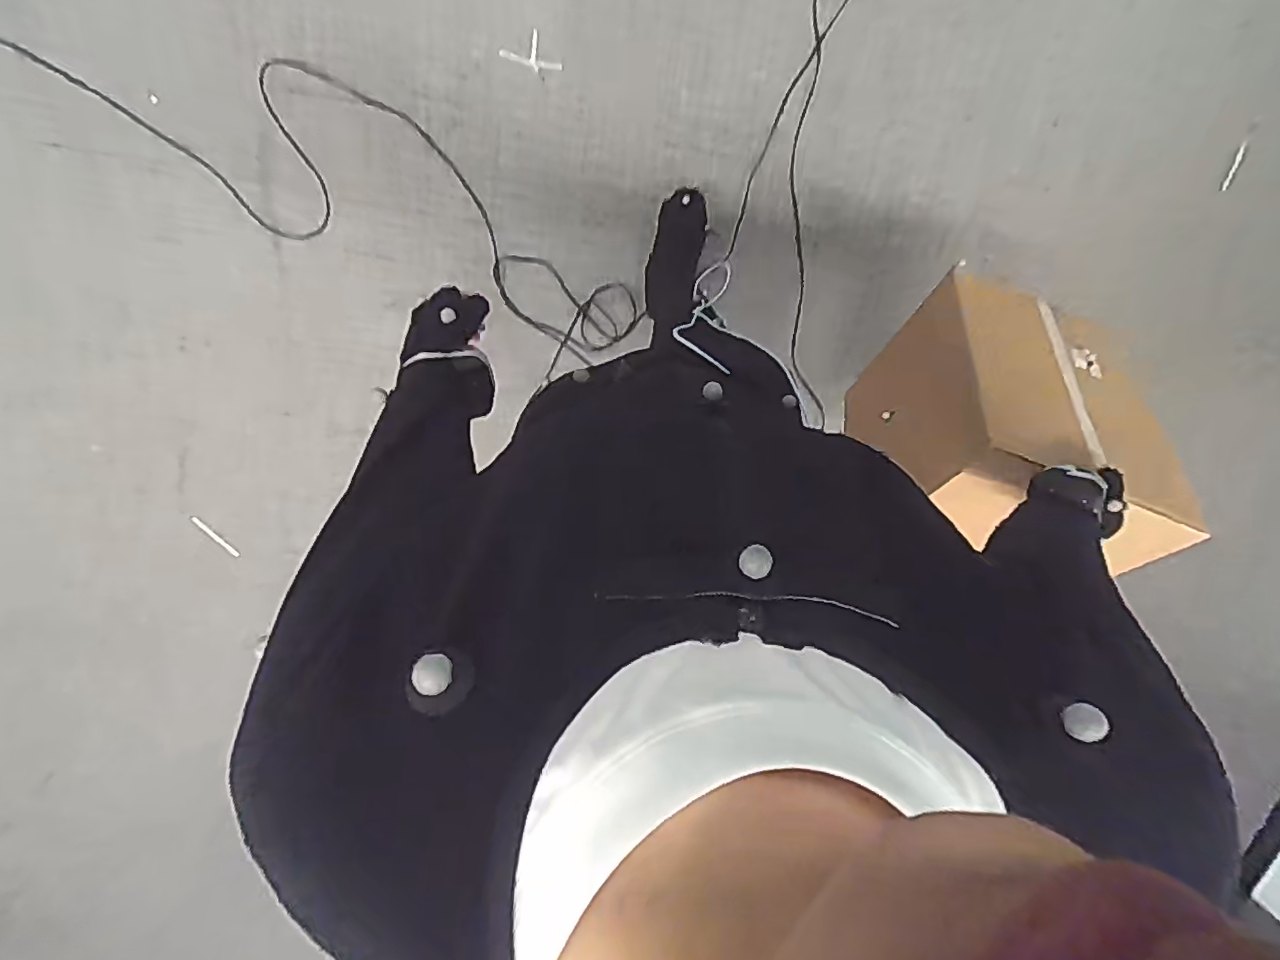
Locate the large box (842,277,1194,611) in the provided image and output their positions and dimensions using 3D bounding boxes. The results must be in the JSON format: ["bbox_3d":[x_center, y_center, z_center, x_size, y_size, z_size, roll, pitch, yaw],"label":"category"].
[{"bbox_3d":[0.559,-0.053,0.903,0.320,0.408,0.320,20,142,-5],"label":"large box"}]
